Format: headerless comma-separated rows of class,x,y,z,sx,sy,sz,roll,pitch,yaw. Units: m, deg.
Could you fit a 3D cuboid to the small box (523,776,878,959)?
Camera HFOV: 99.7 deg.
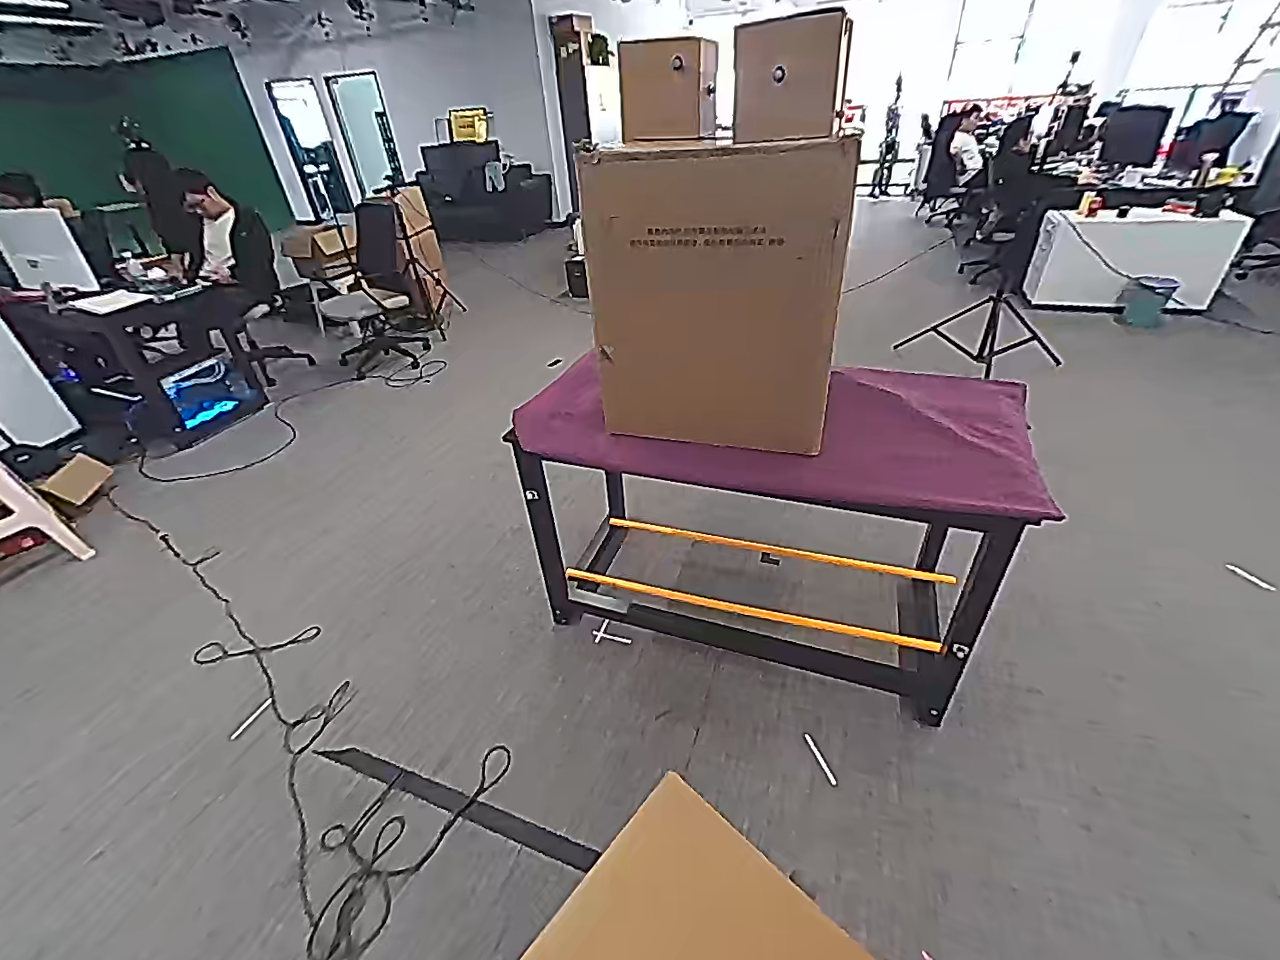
small box,0.042,0.334,0.331,0.179,0.176,0.168,29,55,35
